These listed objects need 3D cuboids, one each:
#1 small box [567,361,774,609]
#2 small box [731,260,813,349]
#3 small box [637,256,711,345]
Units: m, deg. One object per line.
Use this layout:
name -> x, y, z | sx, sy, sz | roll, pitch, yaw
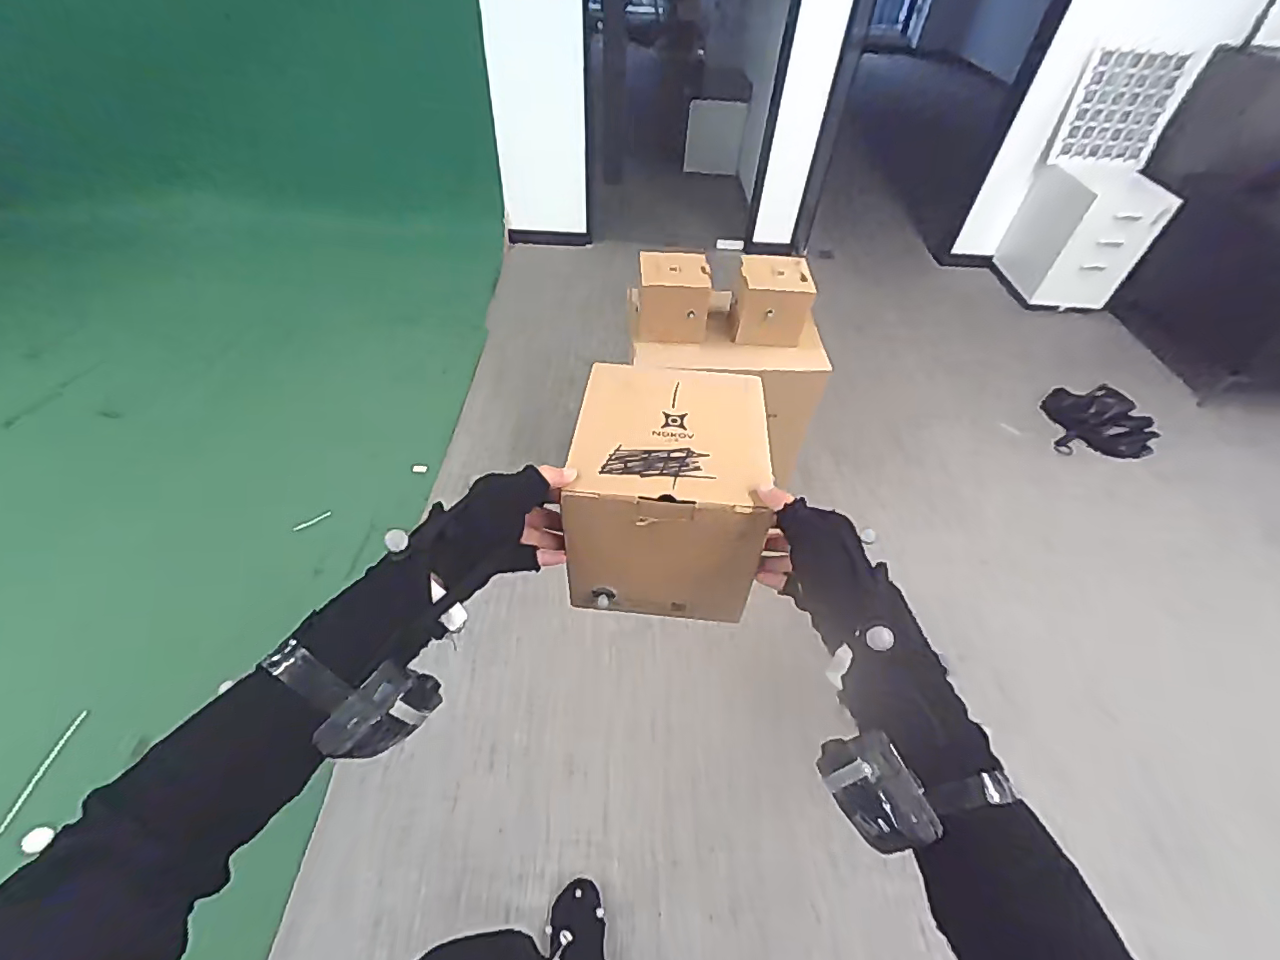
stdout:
small box -> 0.029, 0.007, 0.532 | 0.168, 0.176, 0.179 | 6, 45, 2
small box -> 0.346, -0.471, 1.461 | 0.179, 0.176, 0.168 | 2, 52, -2
small box -> 0.084, -0.476, 1.446 | 0.179, 0.176, 0.168 | -1, 50, -3
